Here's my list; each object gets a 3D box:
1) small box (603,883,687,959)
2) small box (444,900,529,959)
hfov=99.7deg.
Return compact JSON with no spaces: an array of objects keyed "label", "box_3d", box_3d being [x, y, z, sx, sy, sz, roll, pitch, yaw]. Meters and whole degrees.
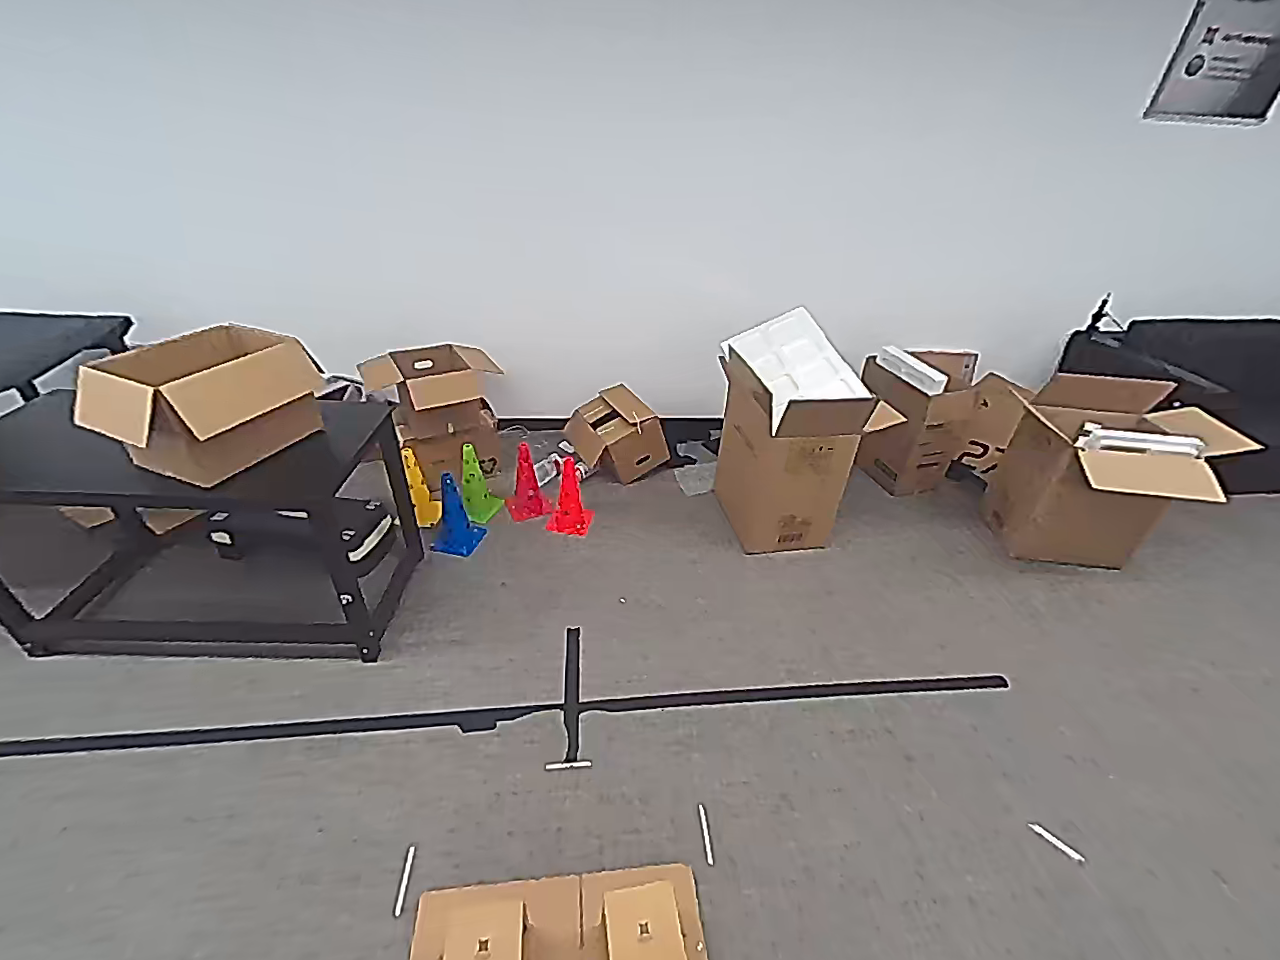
[{"label":"small box","box_3d":[0.006,1.065,1.230,0.168,0.176,0.179,-4,34,-10]},{"label":"small box","box_3d":[-0.335,1.066,1.186,0.168,0.176,0.179,-2,34,-7]}]
